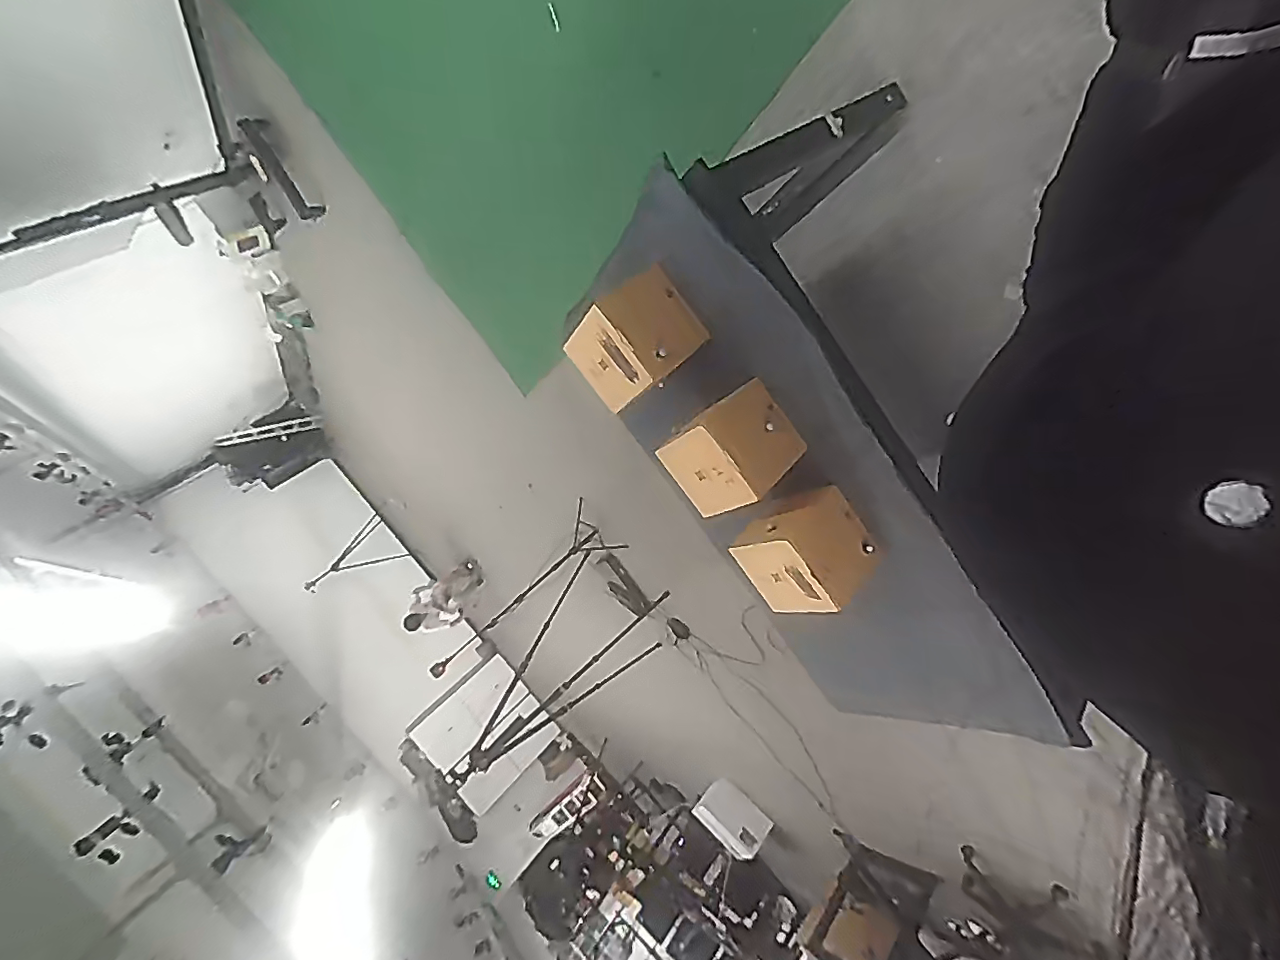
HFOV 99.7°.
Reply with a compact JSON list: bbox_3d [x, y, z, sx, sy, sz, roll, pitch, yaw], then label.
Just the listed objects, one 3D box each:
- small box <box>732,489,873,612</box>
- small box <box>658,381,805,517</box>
[{"bbox_3d":[0.320,0.136,1.044,0.168,0.176,0.179,54,151,-6],"label":"small box"},{"bbox_3d":[0.173,-0.055,1.020,0.168,0.176,0.179,52,150,-6],"label":"small box"}]
